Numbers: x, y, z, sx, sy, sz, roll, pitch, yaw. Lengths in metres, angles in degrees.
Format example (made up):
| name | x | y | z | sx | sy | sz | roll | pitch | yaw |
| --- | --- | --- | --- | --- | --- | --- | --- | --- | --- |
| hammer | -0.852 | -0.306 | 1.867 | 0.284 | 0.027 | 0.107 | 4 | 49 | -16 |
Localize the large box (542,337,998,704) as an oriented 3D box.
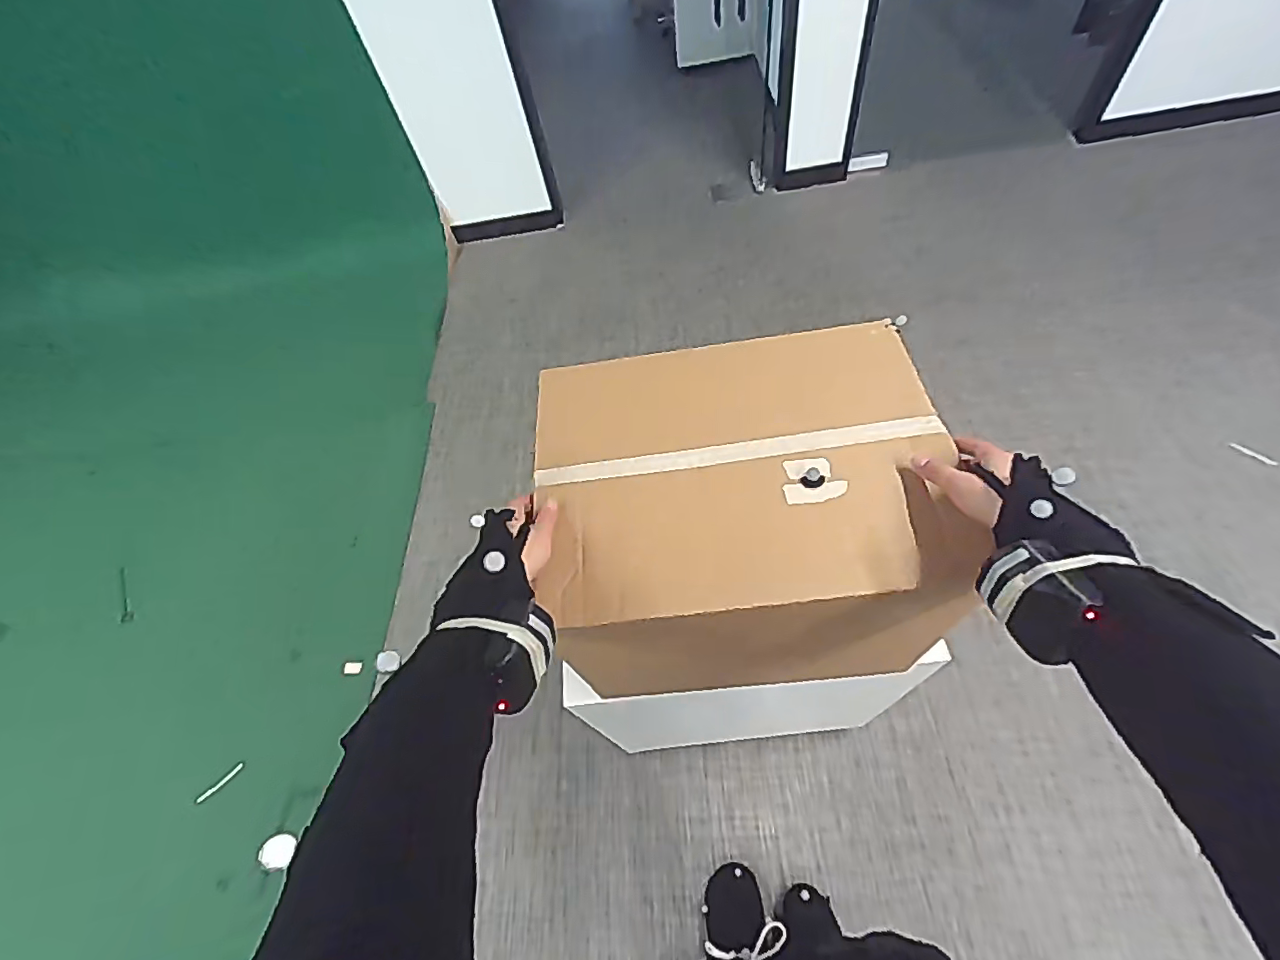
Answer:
| name | x | y | z | sx | sy | sz | roll | pitch | yaw |
| --- | --- | --- | --- | --- | --- | --- | --- | --- | --- |
| large box | 0.113 | 0.067 | 0.671 | 0.408 | 0.320 | 0.320 | -7 | 57 | 3 |
